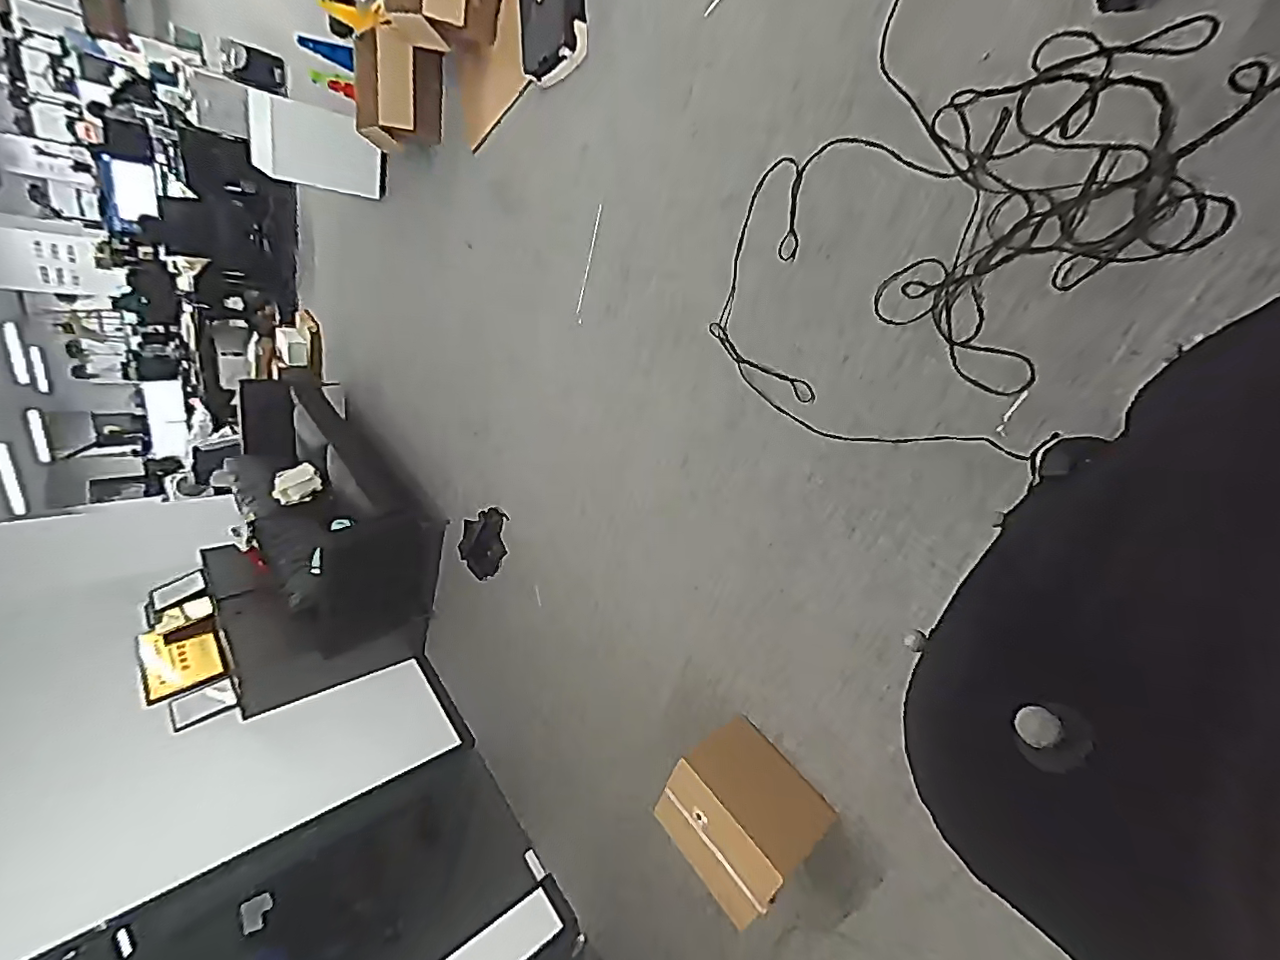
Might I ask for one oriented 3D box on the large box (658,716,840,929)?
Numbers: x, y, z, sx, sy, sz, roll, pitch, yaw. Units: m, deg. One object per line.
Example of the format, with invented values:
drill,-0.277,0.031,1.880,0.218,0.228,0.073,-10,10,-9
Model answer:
large box,0.332,1.045,1.695,0.408,0.320,0.320,40,124,36
